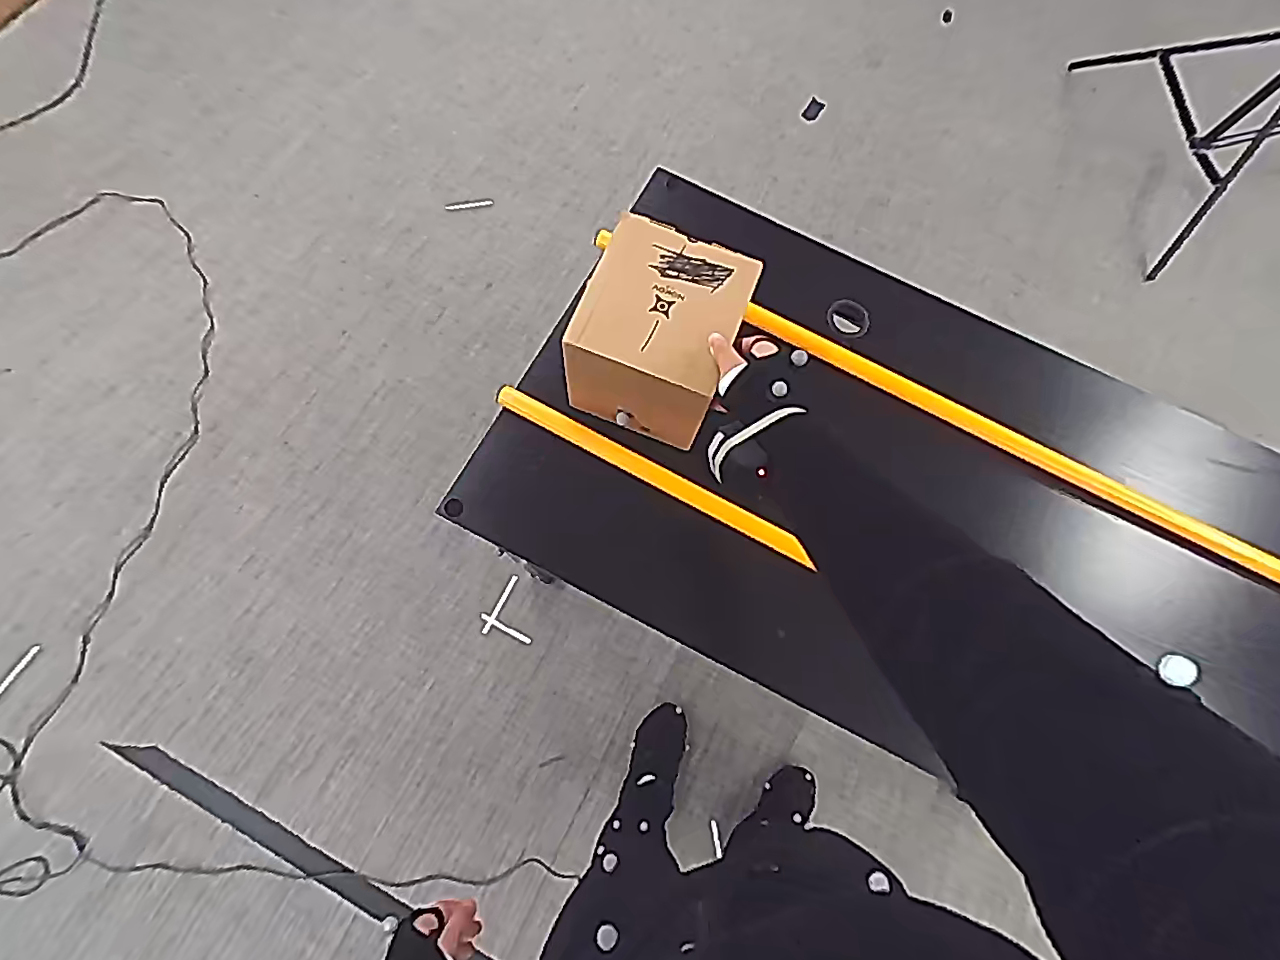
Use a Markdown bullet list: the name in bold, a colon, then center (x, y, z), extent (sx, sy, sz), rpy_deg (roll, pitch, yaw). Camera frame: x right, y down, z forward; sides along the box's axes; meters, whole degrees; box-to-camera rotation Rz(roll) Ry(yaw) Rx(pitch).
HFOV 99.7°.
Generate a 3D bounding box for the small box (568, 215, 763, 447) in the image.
- **small box**: center (0.024, -0.166, 0.646), extent (0.168, 0.176, 0.179), rpy_deg (22, 75, 3)
